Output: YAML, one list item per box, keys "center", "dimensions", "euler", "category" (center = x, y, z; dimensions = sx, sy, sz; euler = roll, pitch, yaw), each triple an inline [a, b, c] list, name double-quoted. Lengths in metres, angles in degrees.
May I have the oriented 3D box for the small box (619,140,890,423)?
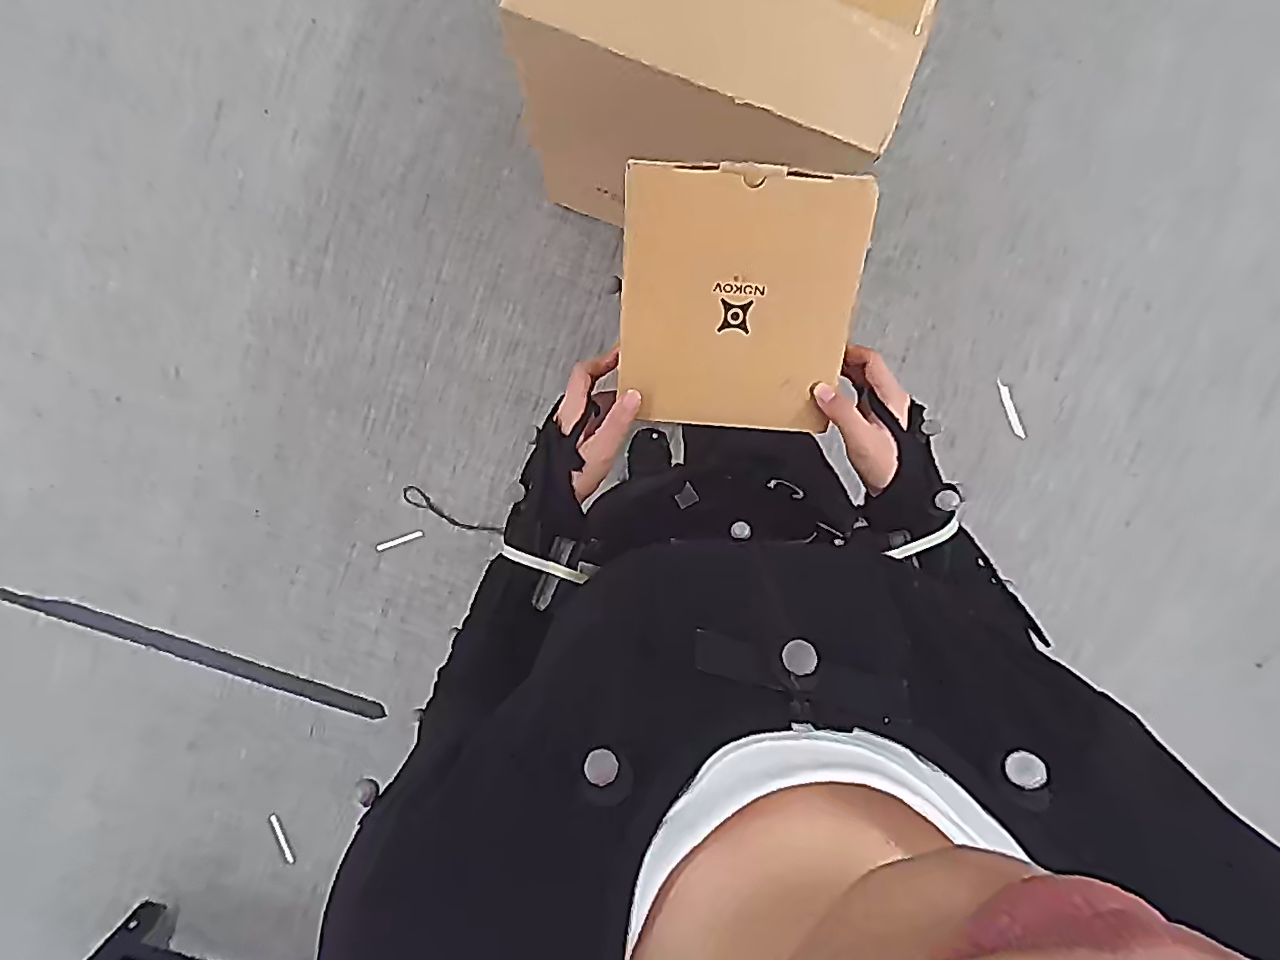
- center: [0.074, -0.160, 0.446]
  dimensions: [0.168, 0.176, 0.179]
  euler: [4, 113, 0]
  category: "small box"

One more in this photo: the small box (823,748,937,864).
- center: [0.605, 0.822, 1.382]
  dimensions: [0.179, 0.176, 0.168]
  euler: [22, 92, -5]
  category: "small box"
